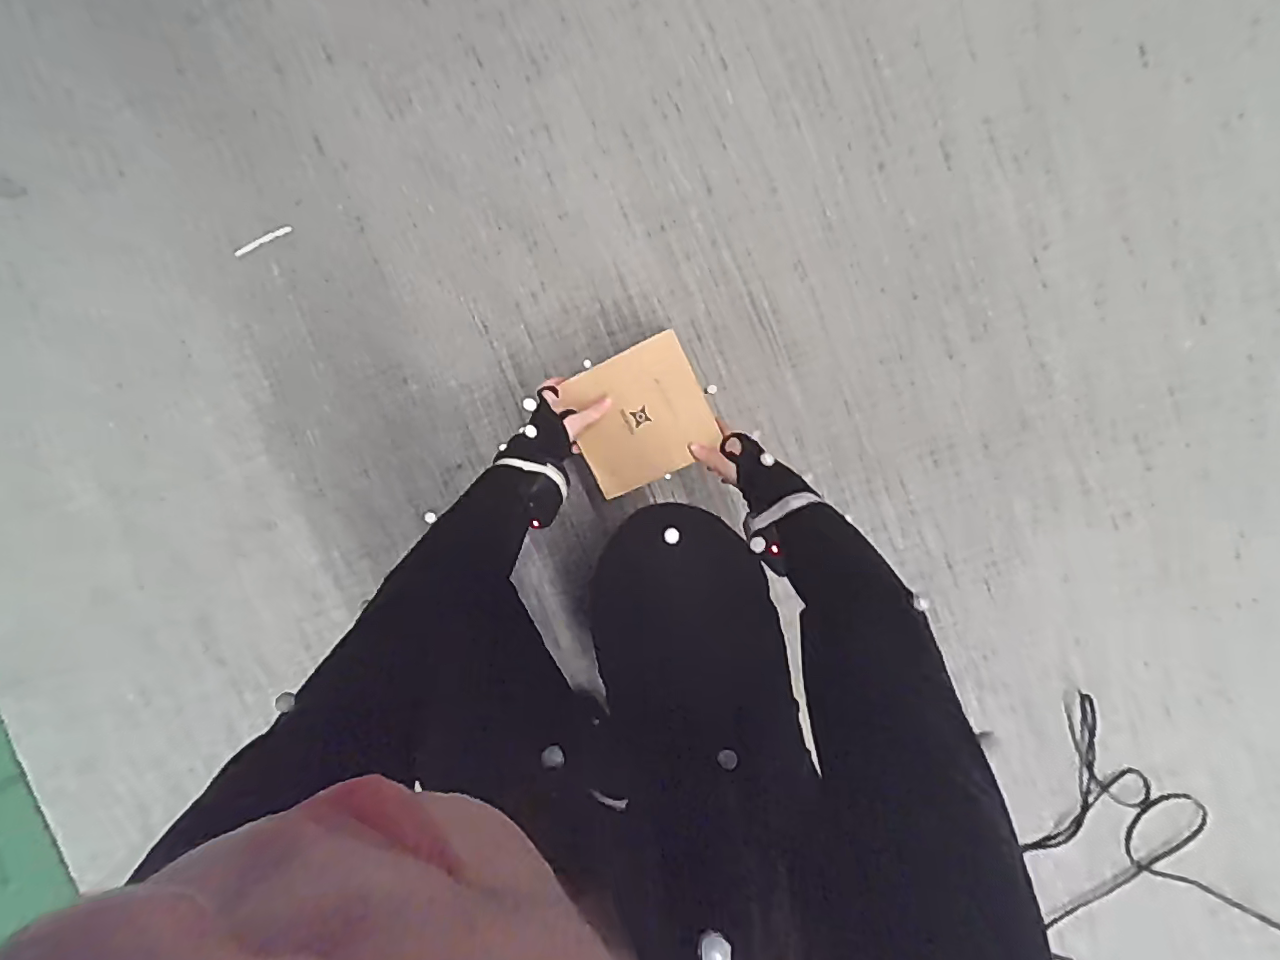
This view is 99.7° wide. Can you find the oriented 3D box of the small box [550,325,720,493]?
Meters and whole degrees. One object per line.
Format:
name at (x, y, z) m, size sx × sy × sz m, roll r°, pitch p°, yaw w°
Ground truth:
small box at (0.003, -0.106, 0.762) m, size 0.179 × 0.176 × 0.168 m, roll -23°, pitch 103°, yaw 13°
